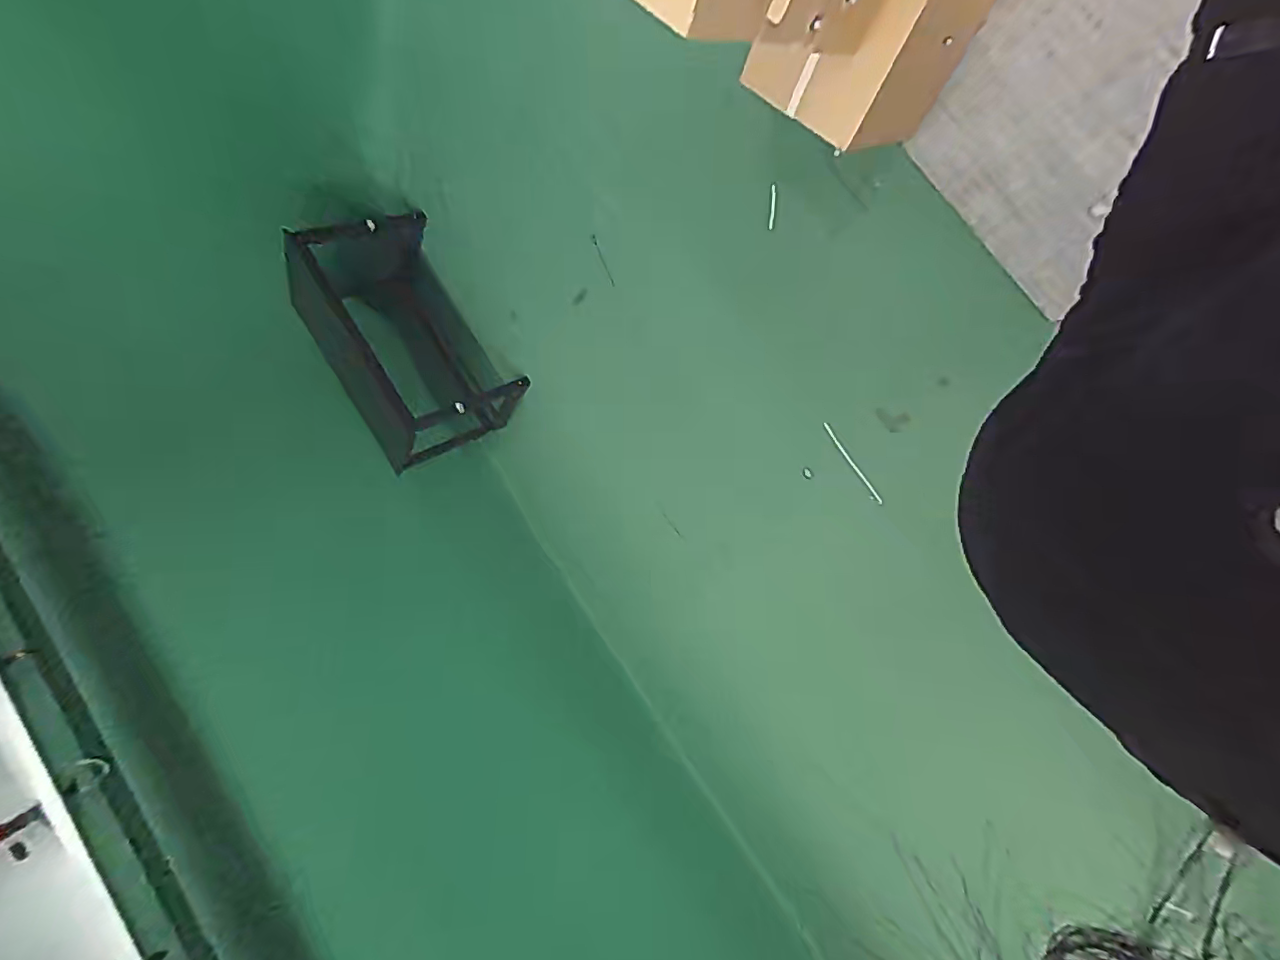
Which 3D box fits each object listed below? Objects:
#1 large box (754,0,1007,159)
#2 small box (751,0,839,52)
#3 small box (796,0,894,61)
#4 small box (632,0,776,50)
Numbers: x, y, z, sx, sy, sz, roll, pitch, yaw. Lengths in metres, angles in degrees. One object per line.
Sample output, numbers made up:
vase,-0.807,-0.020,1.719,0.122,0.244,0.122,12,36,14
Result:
large box,0.506,-0.946,1.093,0.320,0.320,0.408,48,145,19
small box,0.220,-0.803,0.836,0.179,0.176,0.168,50,144,13
small box,0.337,-0.862,0.935,0.168,0.176,0.179,48,144,15
small box,0.100,-0.735,0.747,0.179,0.176,0.168,48,144,14
